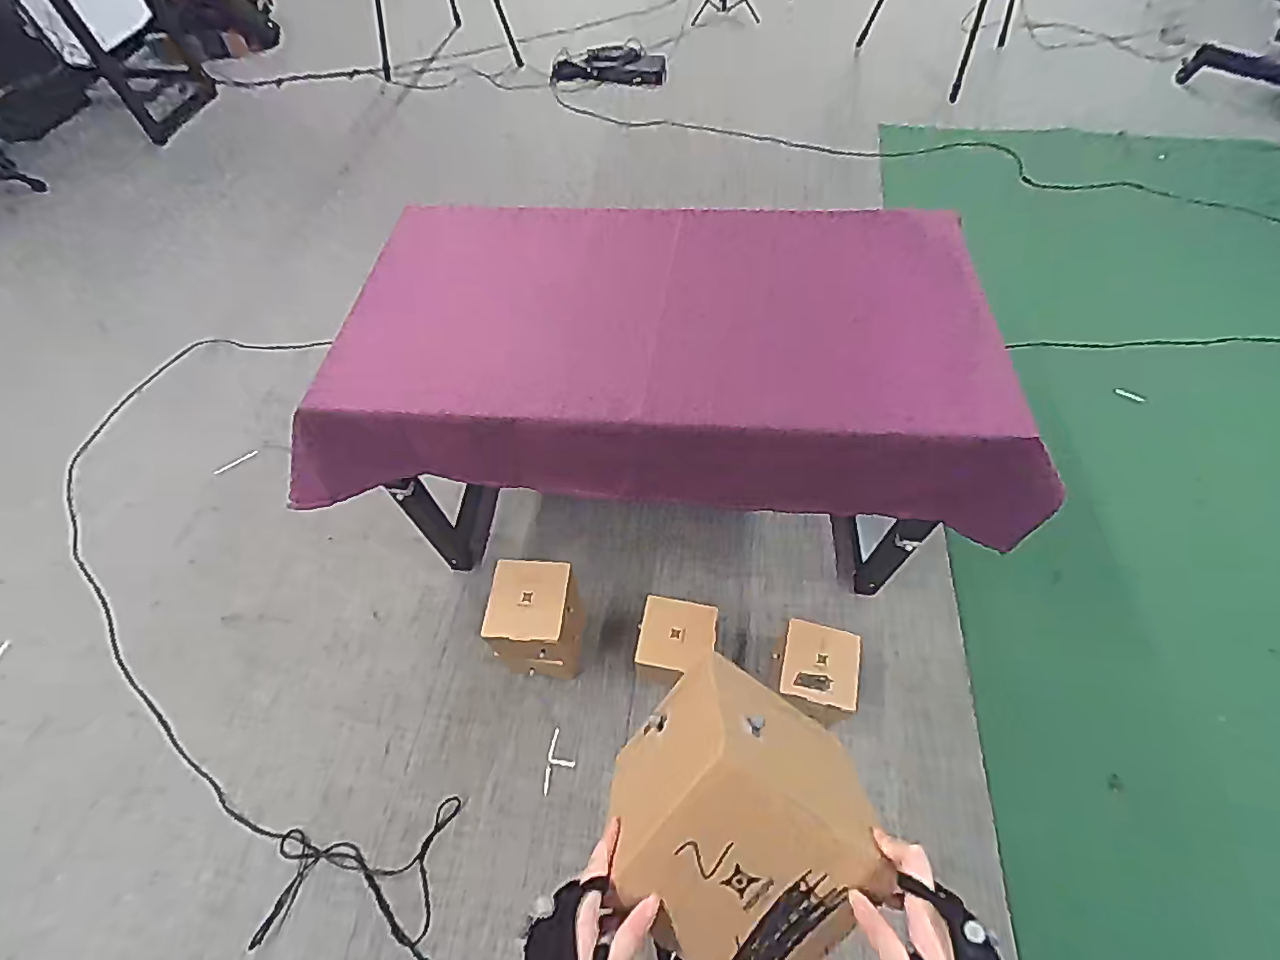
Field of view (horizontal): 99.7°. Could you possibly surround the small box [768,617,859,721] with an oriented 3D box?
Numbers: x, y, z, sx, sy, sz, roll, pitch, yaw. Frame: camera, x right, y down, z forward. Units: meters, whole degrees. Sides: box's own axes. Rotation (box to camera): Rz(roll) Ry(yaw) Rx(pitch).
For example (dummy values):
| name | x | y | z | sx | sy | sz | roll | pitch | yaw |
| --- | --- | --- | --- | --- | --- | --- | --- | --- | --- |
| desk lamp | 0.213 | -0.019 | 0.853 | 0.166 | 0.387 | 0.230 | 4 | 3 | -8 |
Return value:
| name | x | y | z | sx | sy | sz | roll | pitch | yaw |
| --- | --- | --- | --- | --- | --- | --- | --- | --- | --- |
| small box | 0.408 | 0.455 | 1.288 | 0.168 | 0.176 | 0.179 | 13 | 58 | 10 |
